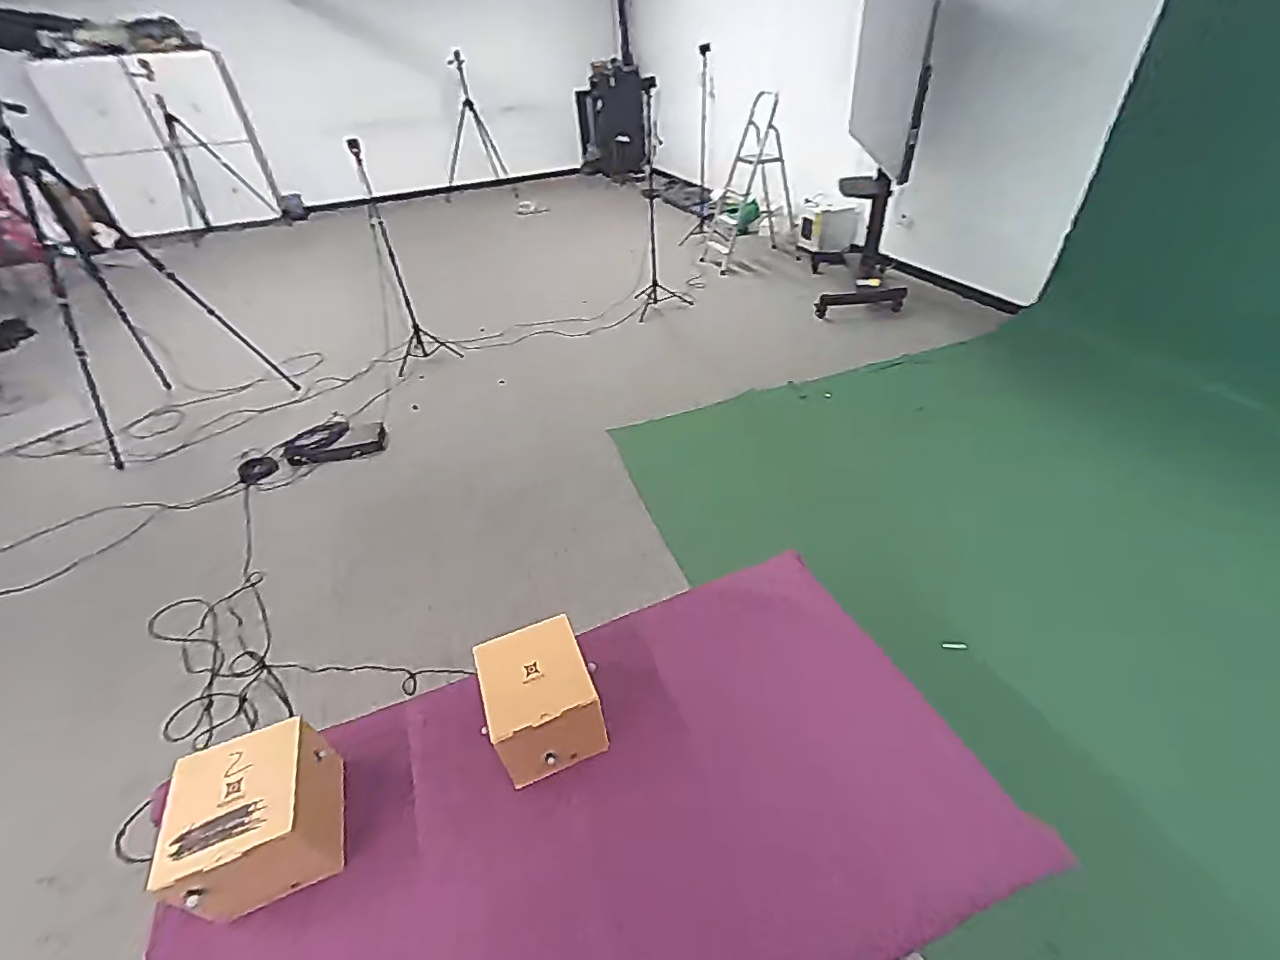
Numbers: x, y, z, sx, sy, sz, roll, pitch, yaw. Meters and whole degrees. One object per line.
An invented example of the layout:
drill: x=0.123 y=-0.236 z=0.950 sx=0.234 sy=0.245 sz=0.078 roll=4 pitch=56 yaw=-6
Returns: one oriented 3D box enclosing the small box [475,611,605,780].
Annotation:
small box: x=-0.166 y=0.359 z=0.906 sx=0.168 sy=0.176 sz=0.179 roll=-17 pitch=42 yaw=-16
